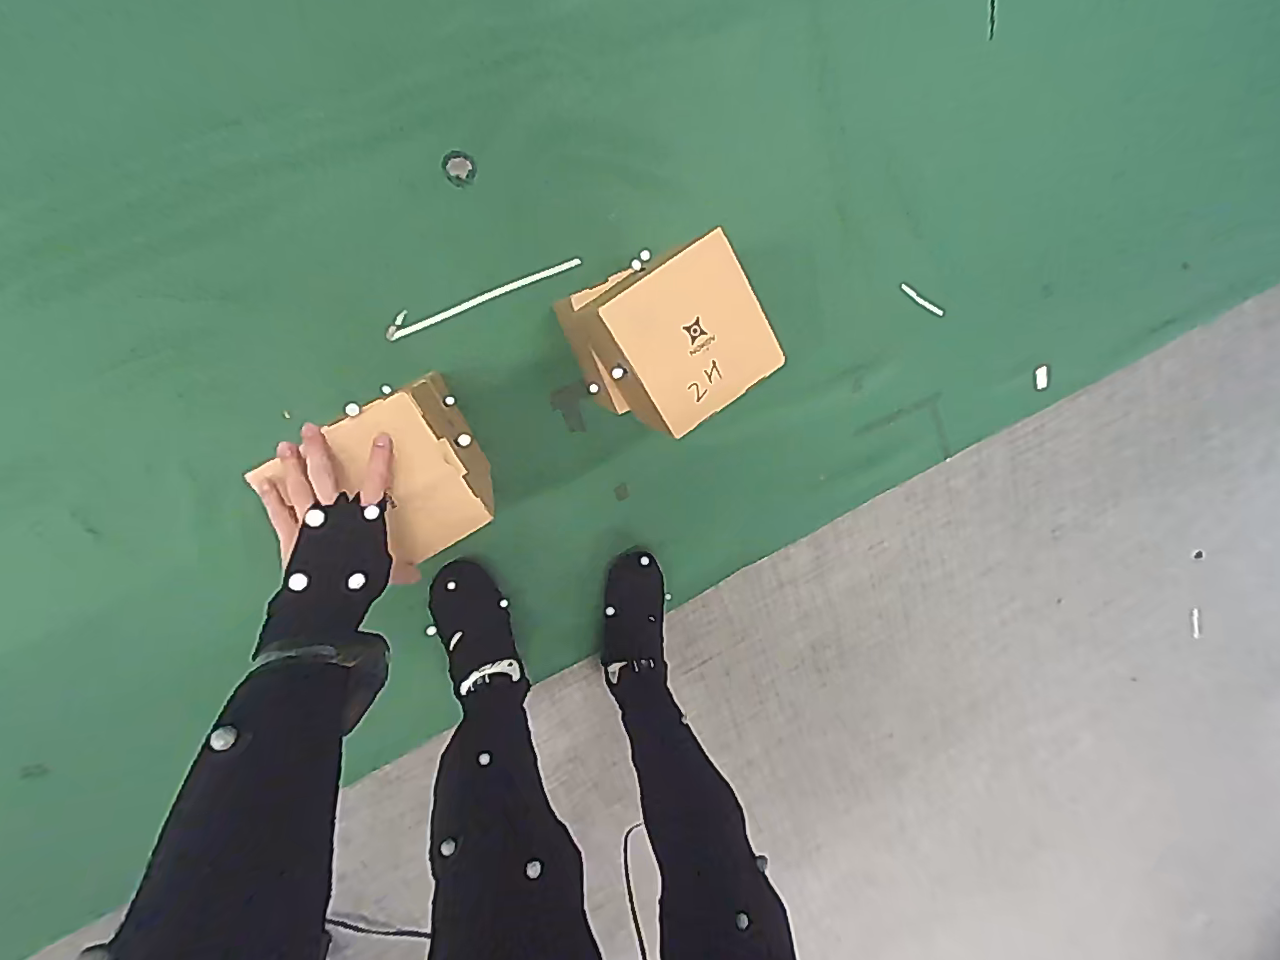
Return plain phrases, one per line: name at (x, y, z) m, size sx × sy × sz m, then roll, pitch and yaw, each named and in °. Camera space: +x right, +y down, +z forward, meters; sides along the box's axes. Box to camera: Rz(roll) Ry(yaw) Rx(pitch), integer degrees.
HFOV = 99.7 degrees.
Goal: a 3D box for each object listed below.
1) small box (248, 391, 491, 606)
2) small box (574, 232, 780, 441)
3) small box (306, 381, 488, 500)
small box at (-0.295, 0.007, 0.634) m, size 0.179 × 0.176 × 0.168 m, roll -31°, pitch 108°, yaw -7°
small box at (0.036, -0.175, 0.678) m, size 0.168 × 0.176 × 0.179 m, roll -35°, pitch 111°, yaw -4°
small box at (-0.333, -0.031, 0.788) m, size 0.168 × 0.176 × 0.179 m, roll -28°, pitch 108°, yaw -7°
